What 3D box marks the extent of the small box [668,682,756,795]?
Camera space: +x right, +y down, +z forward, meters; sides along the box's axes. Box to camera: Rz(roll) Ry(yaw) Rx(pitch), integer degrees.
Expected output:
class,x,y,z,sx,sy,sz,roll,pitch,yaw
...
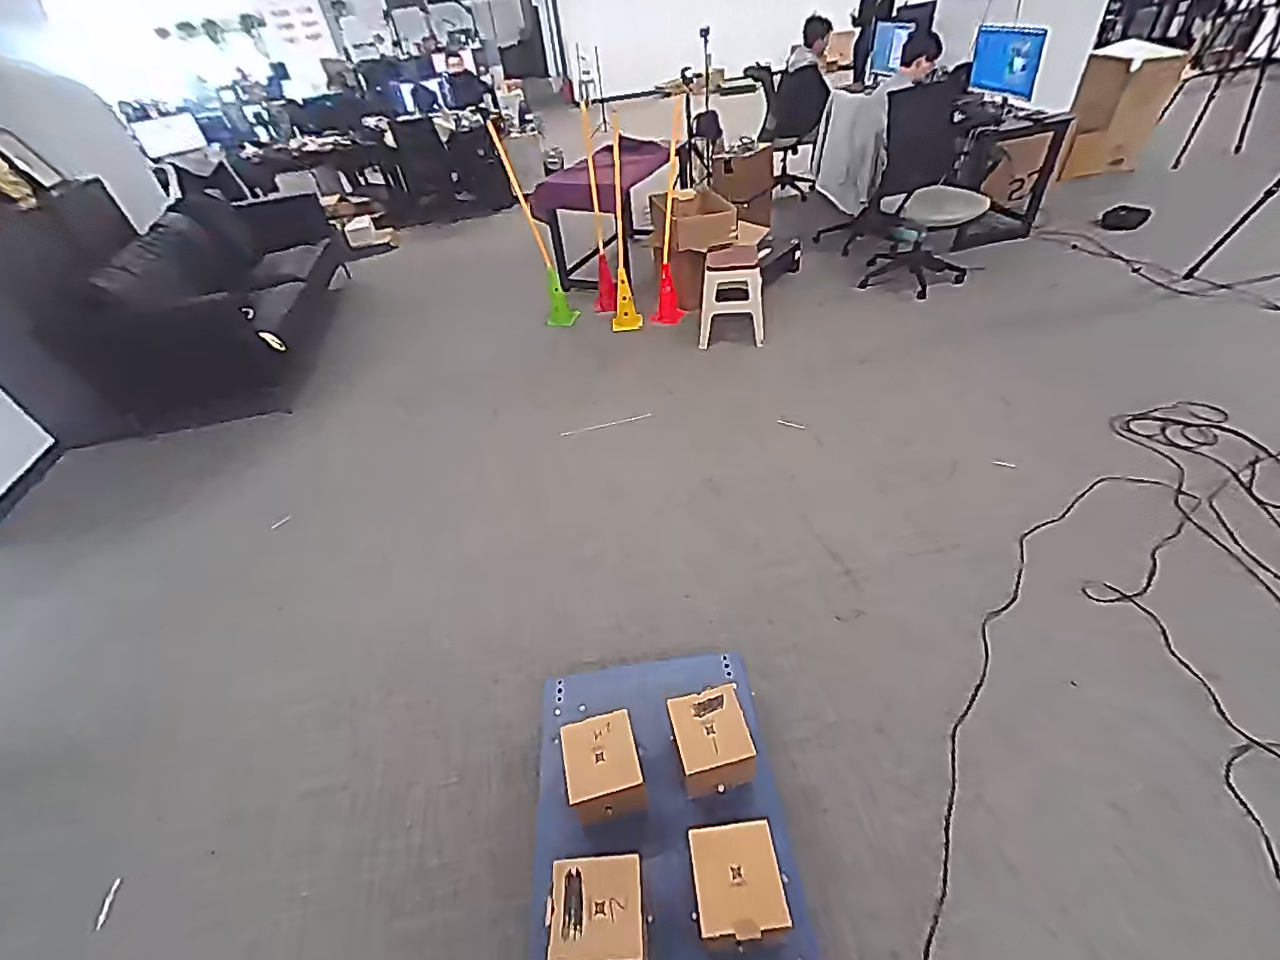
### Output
class,x,y,z,sx,sy,sz,roll,pitch,yaw
small box,0.168,0.625,1.307,0.168,0.176,0.179,-13,44,-5

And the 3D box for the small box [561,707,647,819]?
class,x,y,z,sx,sy,sz,roll,pitch,yaw
small box,-0.085,0.678,1.285,0.168,0.176,0.179,-12,42,-7

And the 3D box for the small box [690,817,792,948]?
class,x,y,z,sx,sy,sz,roll,pitch,yaw
small box,0.195,0.817,1.097,0.168,0.176,0.179,-7,43,-1
